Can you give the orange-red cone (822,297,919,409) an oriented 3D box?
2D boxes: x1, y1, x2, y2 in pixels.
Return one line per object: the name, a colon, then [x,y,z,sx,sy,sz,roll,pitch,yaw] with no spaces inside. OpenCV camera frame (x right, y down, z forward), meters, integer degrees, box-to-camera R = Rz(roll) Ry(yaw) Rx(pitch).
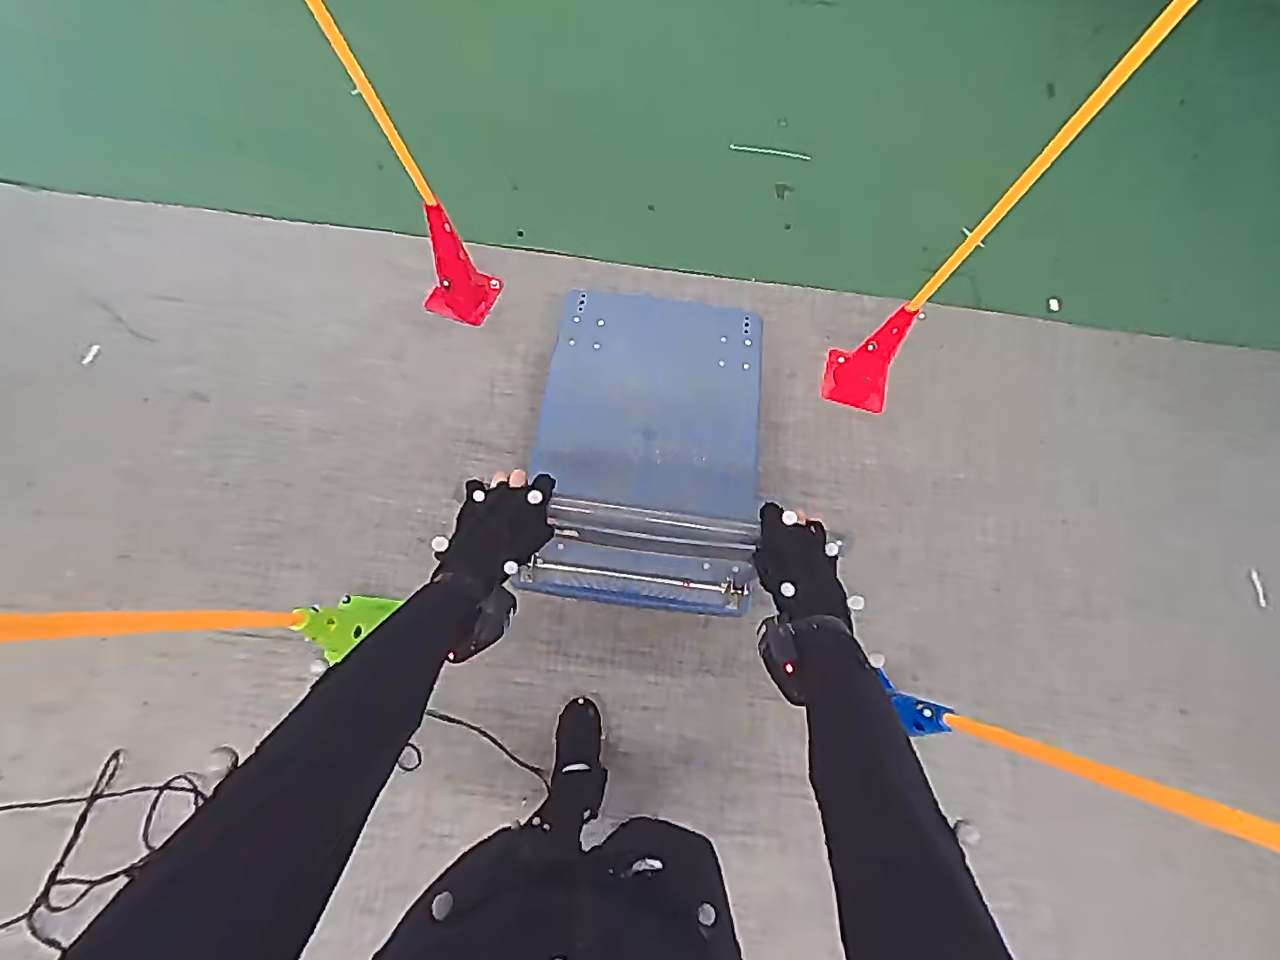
orange-red cone: [0.694,-0.390,1.552,0.198,0.360,0.199,17,69,4]
